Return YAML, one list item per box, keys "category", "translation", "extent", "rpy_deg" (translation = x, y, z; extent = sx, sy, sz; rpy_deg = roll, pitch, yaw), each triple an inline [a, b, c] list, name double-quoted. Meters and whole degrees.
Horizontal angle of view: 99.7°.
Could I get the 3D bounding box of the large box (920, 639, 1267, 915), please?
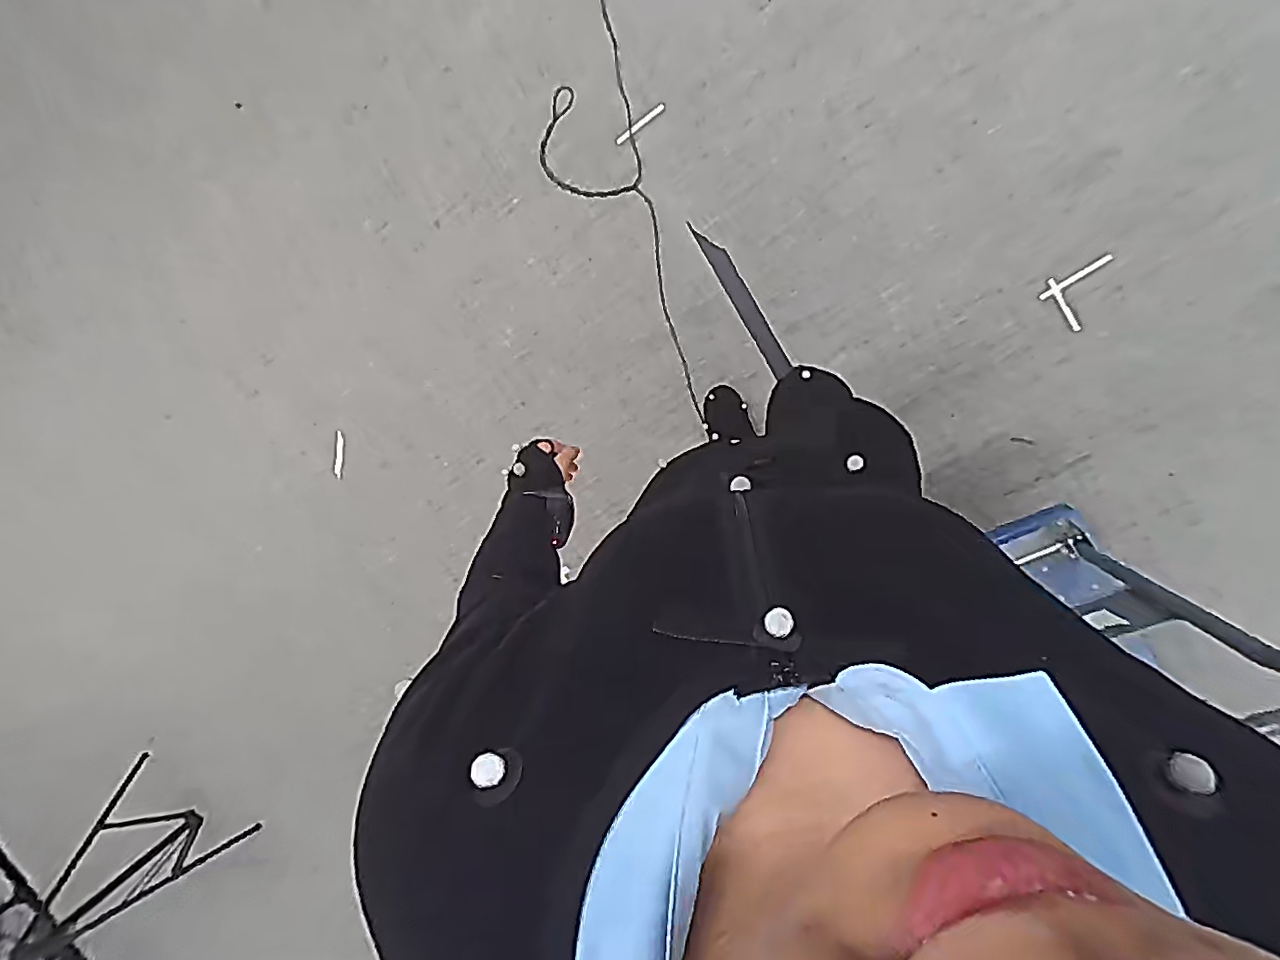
- category: "large box"
  translation: [0.884, 0.597, 1.127]
  extent: [0.408, 0.320, 0.320]
  rpy_deg: [-28, 95, 16]
